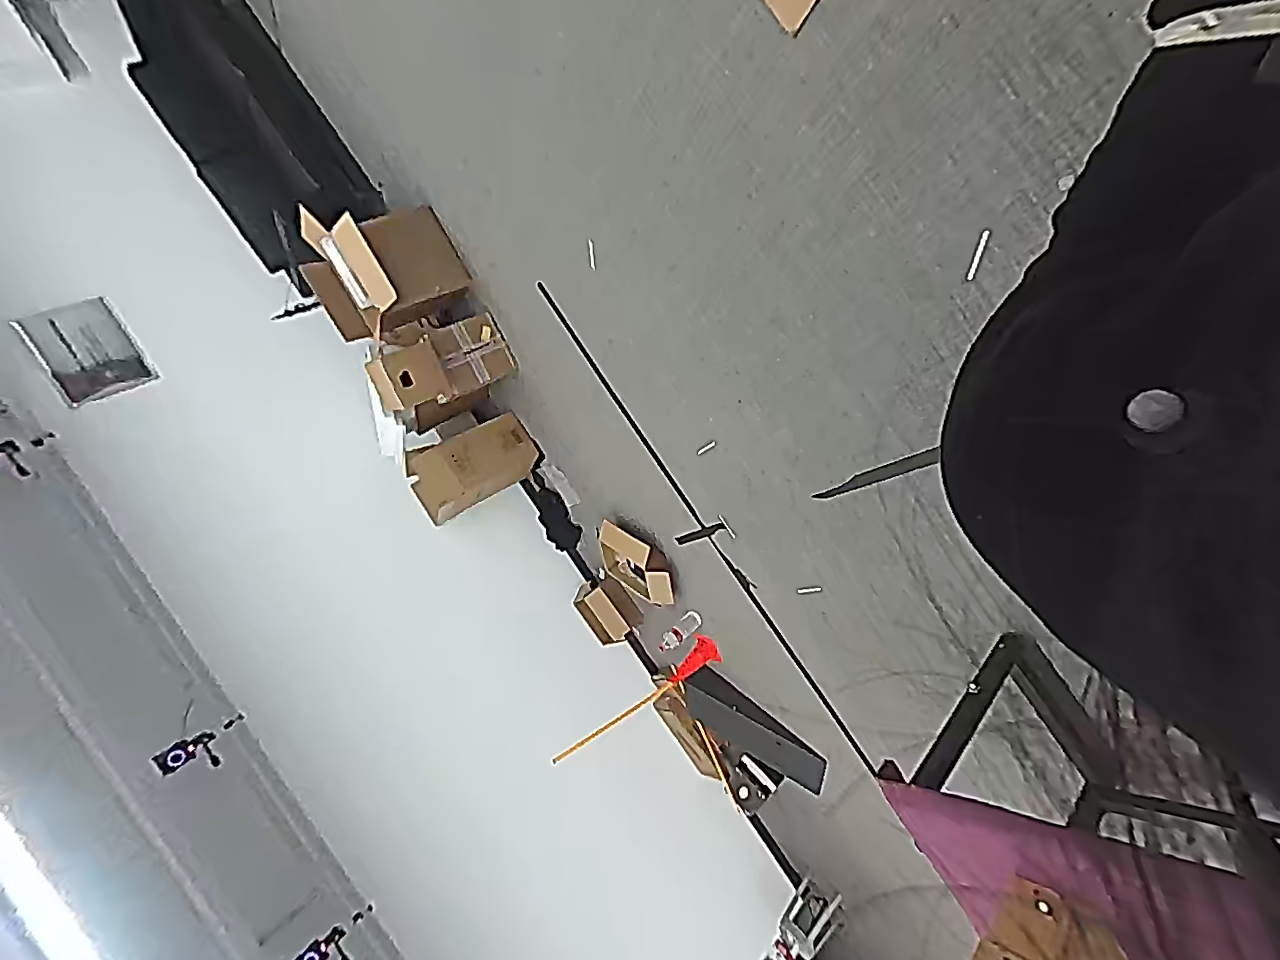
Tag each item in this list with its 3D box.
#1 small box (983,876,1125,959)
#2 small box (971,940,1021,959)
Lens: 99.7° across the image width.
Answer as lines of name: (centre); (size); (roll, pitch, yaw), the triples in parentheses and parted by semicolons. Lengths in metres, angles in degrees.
small box: (0.866, 0.988, 1.121); (0.179, 0.176, 0.168); (58, 151, -3)
small box: (0.744, 1.064, 1.043); (0.179, 0.176, 0.168); (58, 151, -5)
